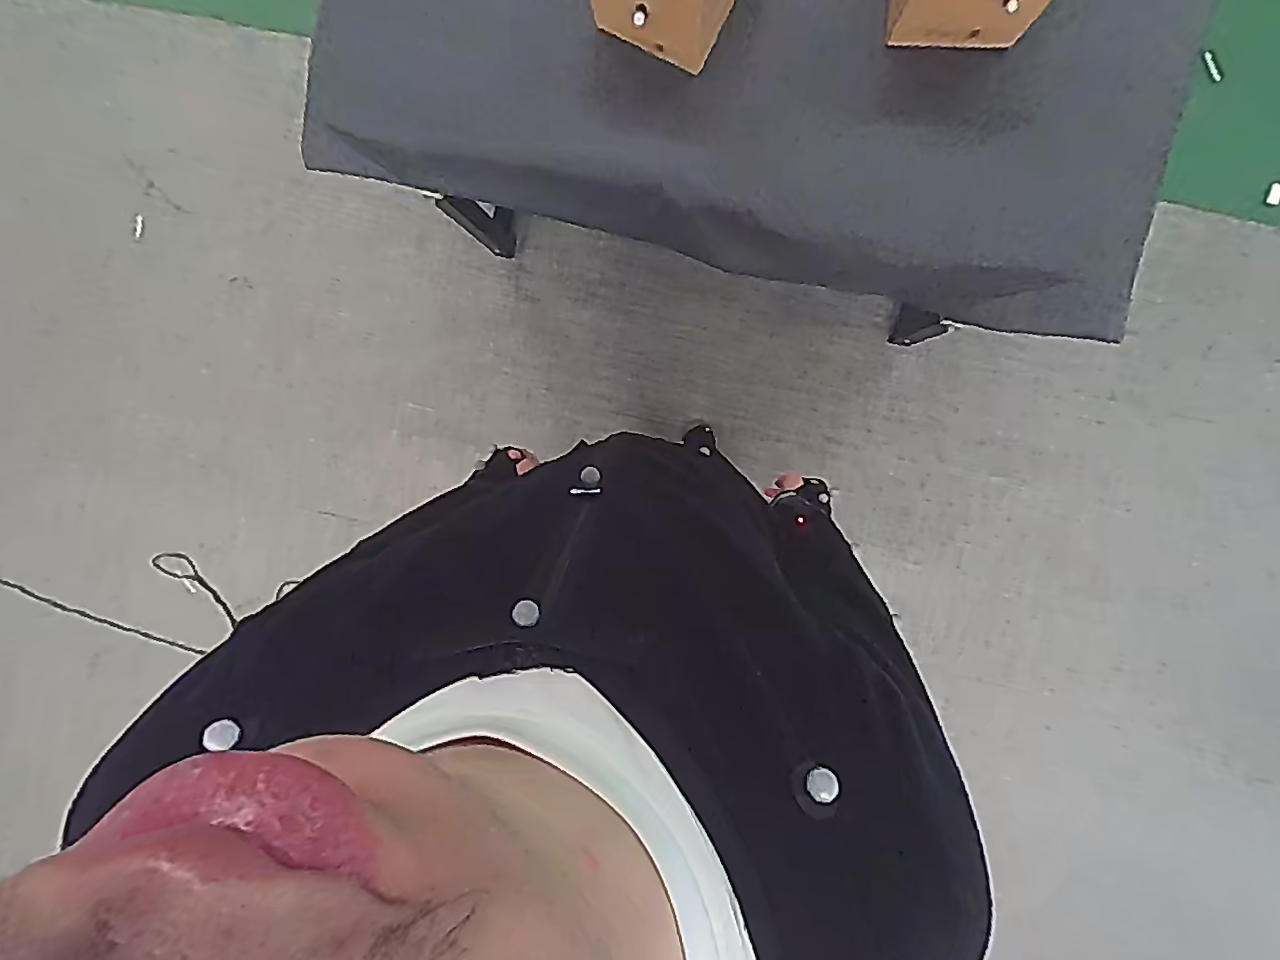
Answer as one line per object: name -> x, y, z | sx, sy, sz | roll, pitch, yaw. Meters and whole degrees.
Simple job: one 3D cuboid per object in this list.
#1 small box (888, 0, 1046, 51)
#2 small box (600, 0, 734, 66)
small box -> 0.415, -0.659, 0.645 | 0.168, 0.176, 0.179 | 5, 95, 3
small box -> 0.045, -0.676, 0.672 | 0.168, 0.176, 0.179 | 28, 98, 1
